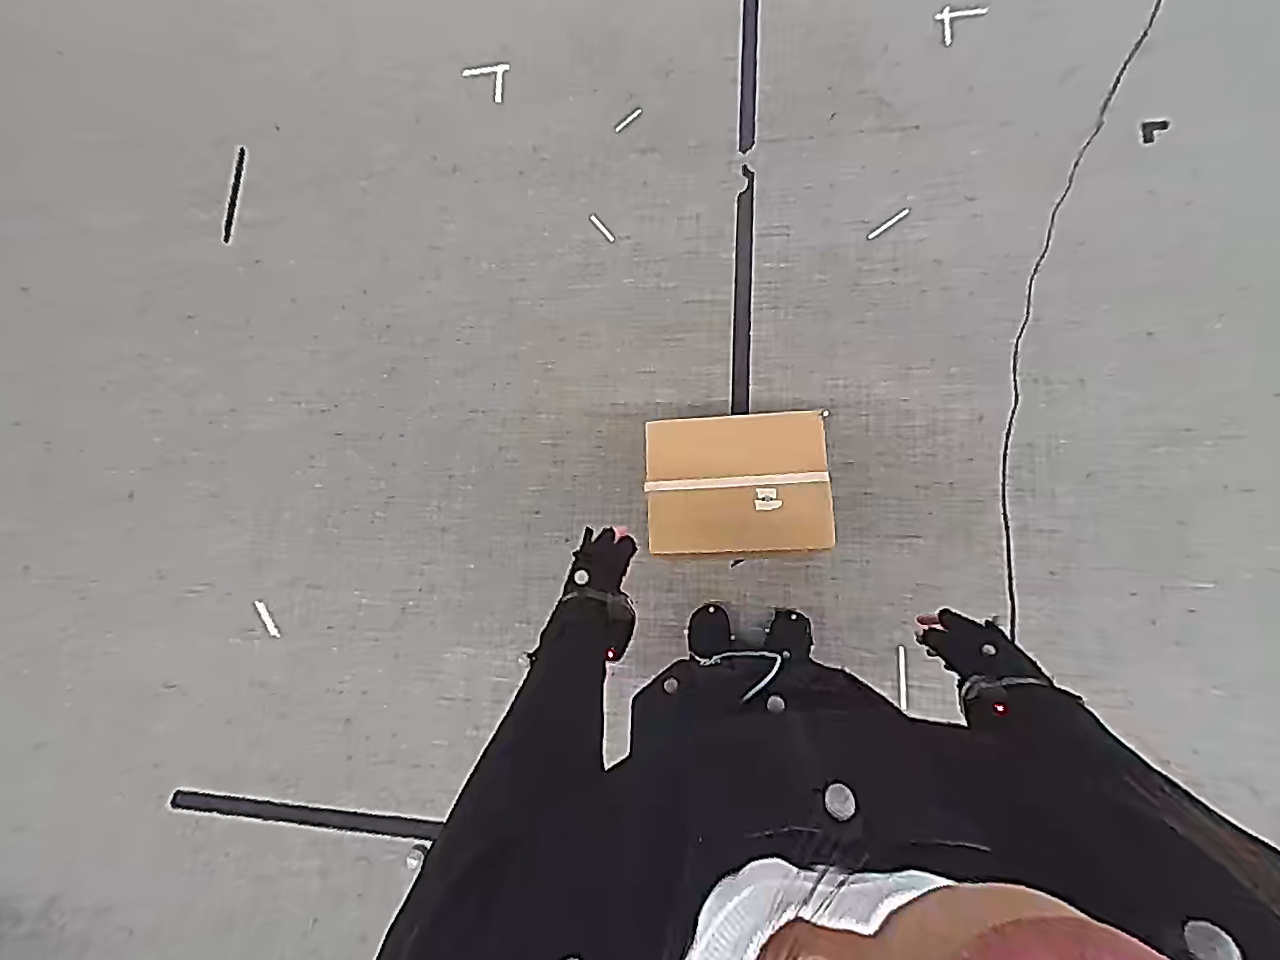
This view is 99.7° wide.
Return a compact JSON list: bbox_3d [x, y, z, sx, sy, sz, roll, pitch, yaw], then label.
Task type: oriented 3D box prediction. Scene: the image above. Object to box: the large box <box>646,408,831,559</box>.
[{"bbox_3d":[0.234,0.027,1.372,0.408,0.320,0.320,-3,79,8],"label":"large box"}]
